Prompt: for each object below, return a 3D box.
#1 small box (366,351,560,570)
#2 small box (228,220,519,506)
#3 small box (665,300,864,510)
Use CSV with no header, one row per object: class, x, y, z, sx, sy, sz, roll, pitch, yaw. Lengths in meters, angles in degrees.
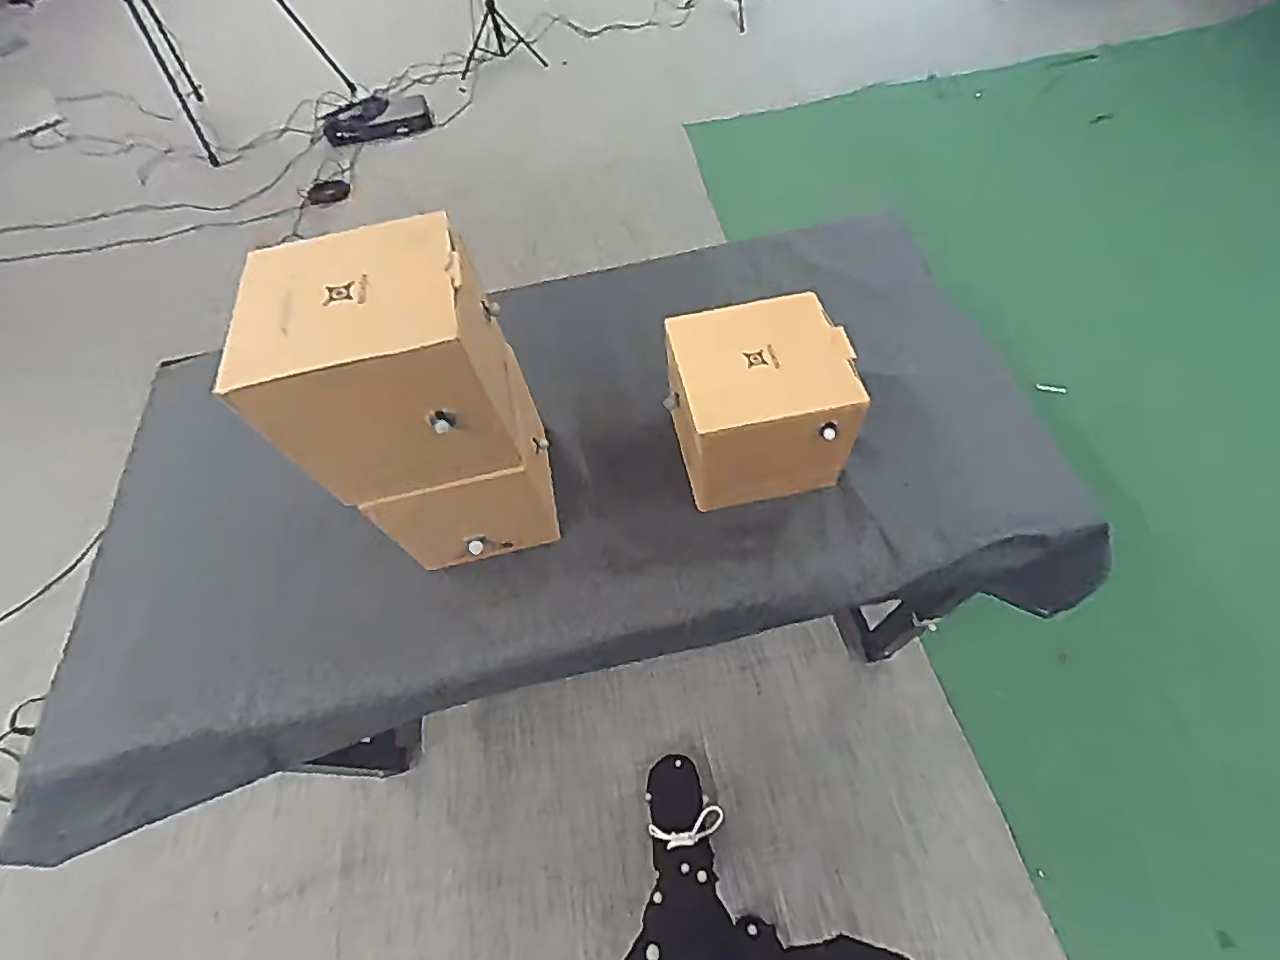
small box,-0.198,-0.018,0.635,0.168,0.176,0.179,-13,59,-2
small box,-0.218,-0.099,0.496,0.179,0.176,0.168,-14,57,-2
small box,0.133,-0.081,0.643,0.179,0.176,0.168,-11,58,-2
